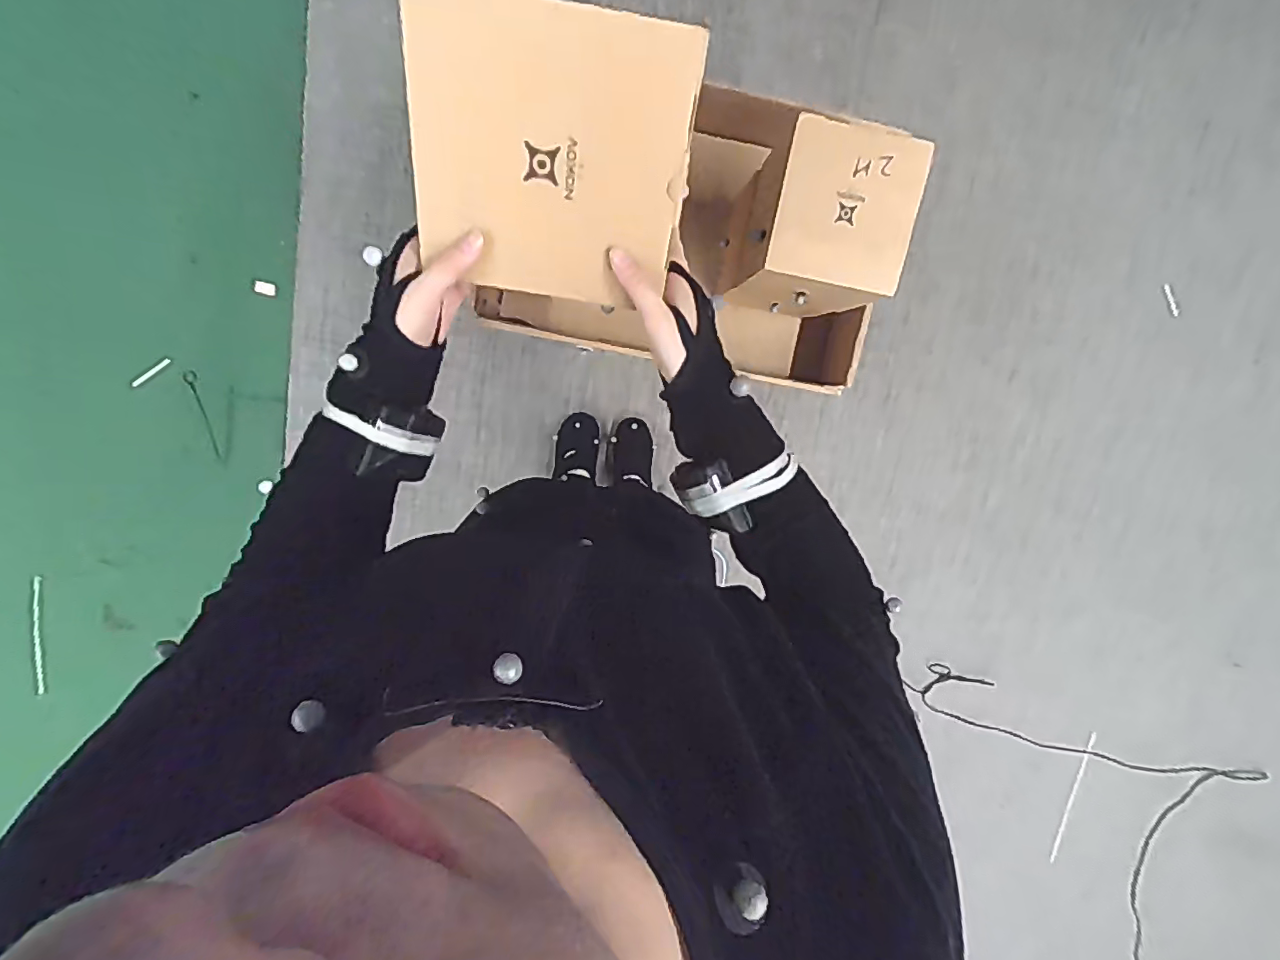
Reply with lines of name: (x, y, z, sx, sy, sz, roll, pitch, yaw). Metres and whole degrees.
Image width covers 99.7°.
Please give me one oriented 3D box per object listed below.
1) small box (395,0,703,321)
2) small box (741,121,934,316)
small box: (-0.061, -0.241, 0.412, 0.179, 0.176, 0.168, 8, 126, -5)
small box: (0.240, -0.323, 0.709, 0.168, 0.176, 0.179, 11, 100, -4)
